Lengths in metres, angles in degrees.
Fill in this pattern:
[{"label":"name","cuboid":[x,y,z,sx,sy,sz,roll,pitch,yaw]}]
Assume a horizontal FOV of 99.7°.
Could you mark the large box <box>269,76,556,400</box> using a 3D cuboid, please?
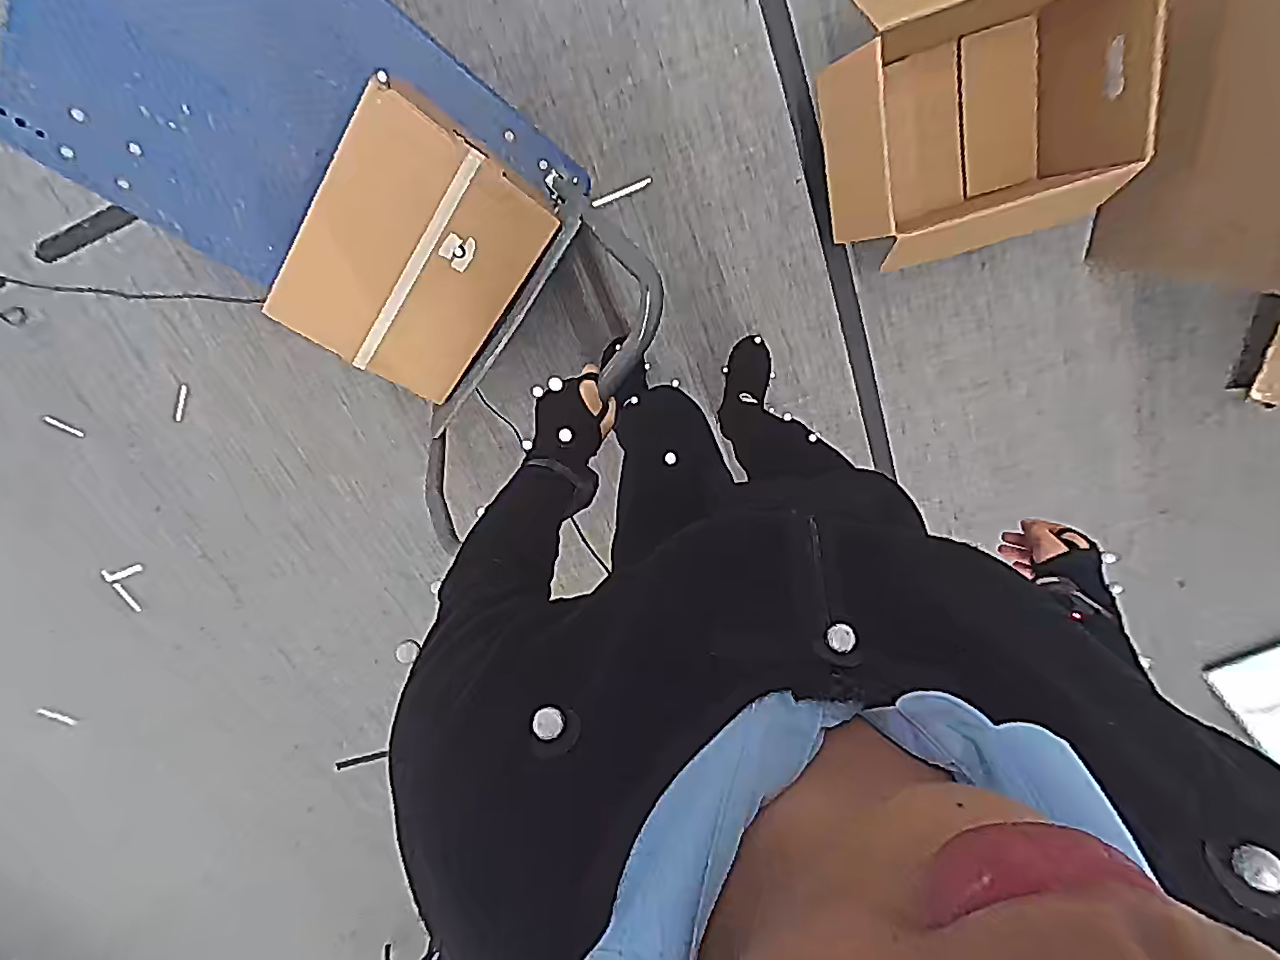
[{"label":"large box","cuboid":[-0.404,-0.435,1.009,0.320,0.320,0.408,29,112,-31]}]
